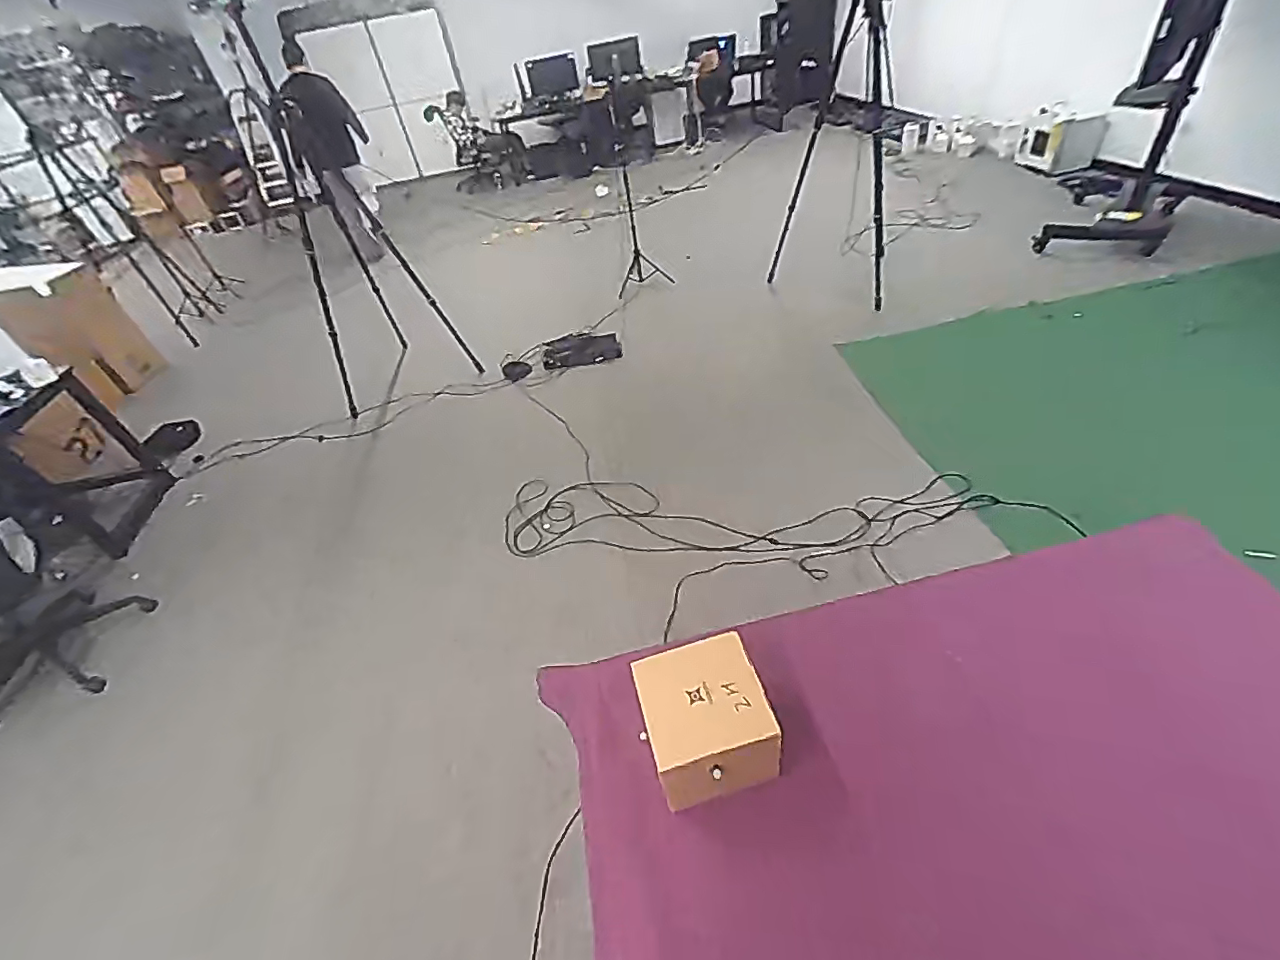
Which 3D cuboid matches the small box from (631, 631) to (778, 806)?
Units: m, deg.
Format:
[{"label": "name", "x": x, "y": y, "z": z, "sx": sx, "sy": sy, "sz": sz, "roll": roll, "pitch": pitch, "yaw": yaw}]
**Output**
[{"label": "small box", "x": 0.099, "y": 0.364, "z": 0.821, "sx": 0.179, "sy": 0.176, "sz": 0.168, "roll": -16, "pitch": 42, "yaw": -4}]
